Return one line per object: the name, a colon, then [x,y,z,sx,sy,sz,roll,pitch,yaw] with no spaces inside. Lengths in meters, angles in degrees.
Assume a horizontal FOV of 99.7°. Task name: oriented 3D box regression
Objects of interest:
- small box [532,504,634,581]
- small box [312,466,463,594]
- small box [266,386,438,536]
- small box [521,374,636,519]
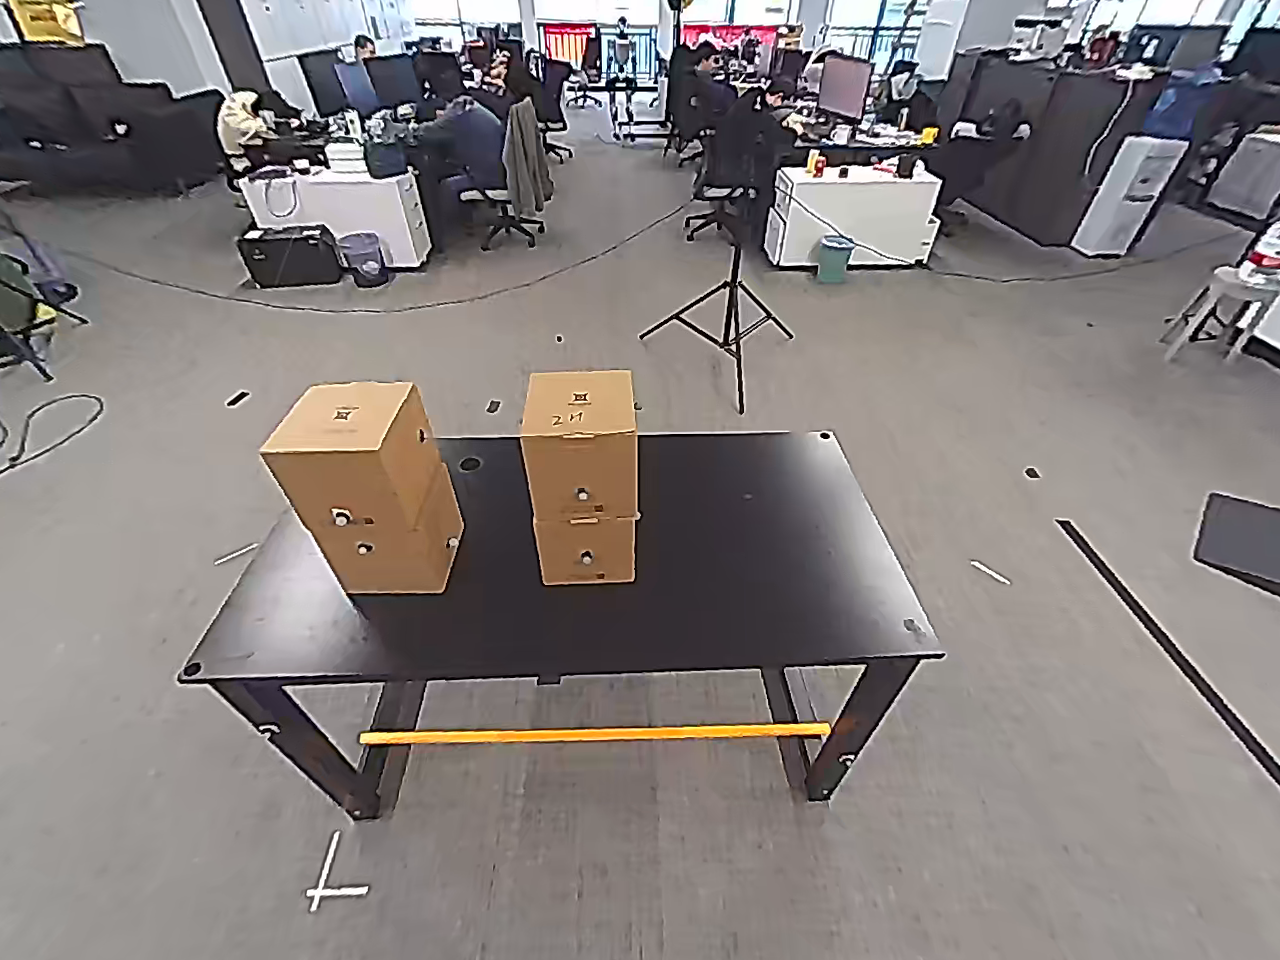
small box: [-0.097,0.072,0.990,0.168,0.176,0.179,-2,42,-3]
small box: [-0.434,0.089,0.965,0.179,0.176,0.168,0,42,-2]
small box: [-0.435,-0.031,0.856,0.168,0.176,0.179,-2,42,-1]
small box: [-0.093,-0.056,0.884,0.168,0.176,0.179,-3,41,-2]
